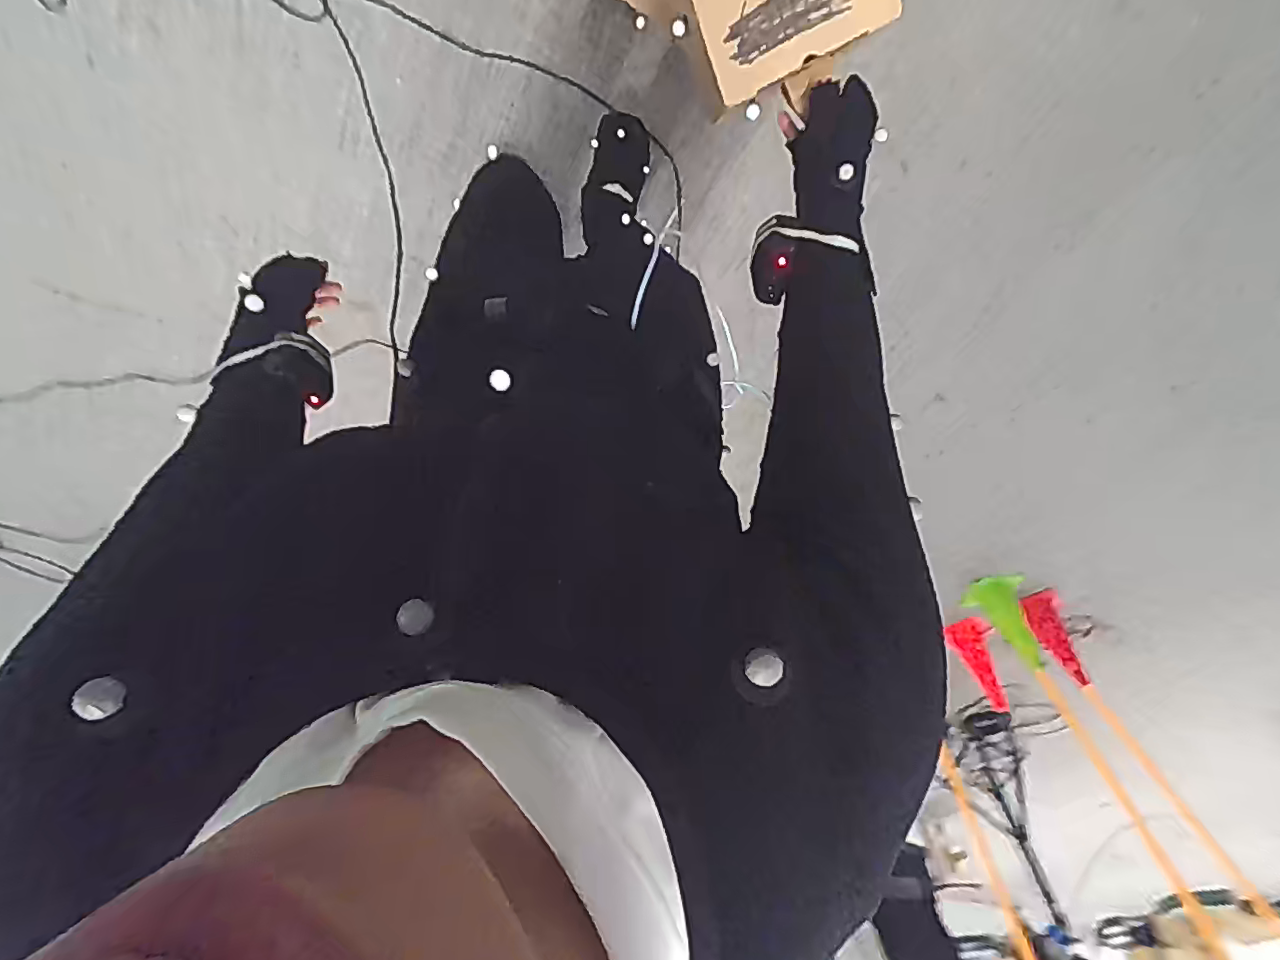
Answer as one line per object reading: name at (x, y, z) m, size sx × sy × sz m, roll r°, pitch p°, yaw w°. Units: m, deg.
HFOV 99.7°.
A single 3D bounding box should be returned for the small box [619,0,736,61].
small box at (0.057, -0.753, 0.783) m, size 0.179 × 0.176 × 0.168 m, roll 23°, pitch 127°, yaw -21°
